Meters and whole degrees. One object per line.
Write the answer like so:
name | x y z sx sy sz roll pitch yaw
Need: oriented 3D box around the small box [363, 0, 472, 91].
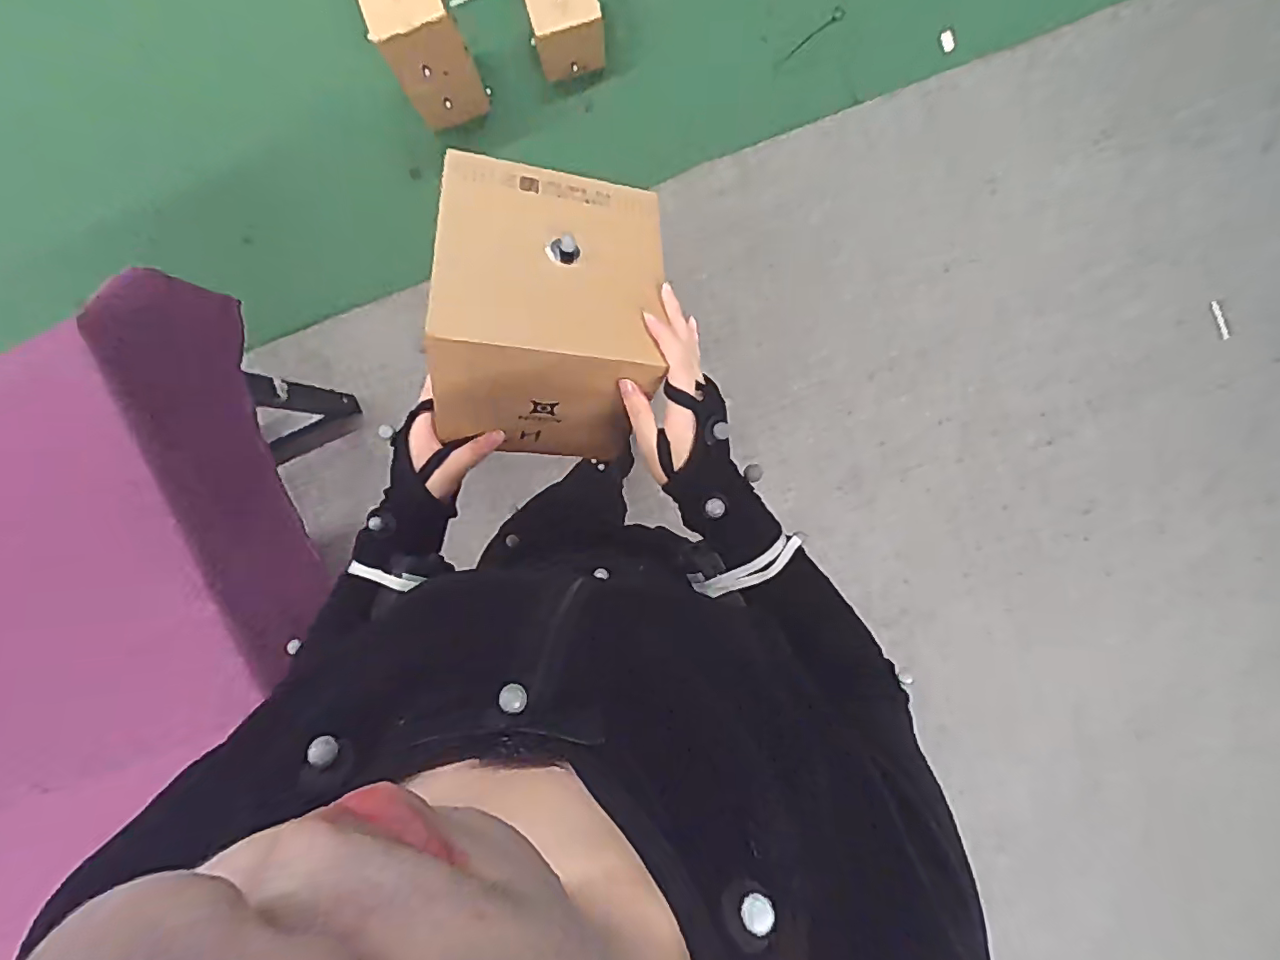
small box | -0.499 -1.027 1.204 0.168 0.176 0.179 -19 92 2

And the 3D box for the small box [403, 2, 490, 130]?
small box | -0.497 -1.036 1.367 0.179 0.176 0.168 -19 92 3
